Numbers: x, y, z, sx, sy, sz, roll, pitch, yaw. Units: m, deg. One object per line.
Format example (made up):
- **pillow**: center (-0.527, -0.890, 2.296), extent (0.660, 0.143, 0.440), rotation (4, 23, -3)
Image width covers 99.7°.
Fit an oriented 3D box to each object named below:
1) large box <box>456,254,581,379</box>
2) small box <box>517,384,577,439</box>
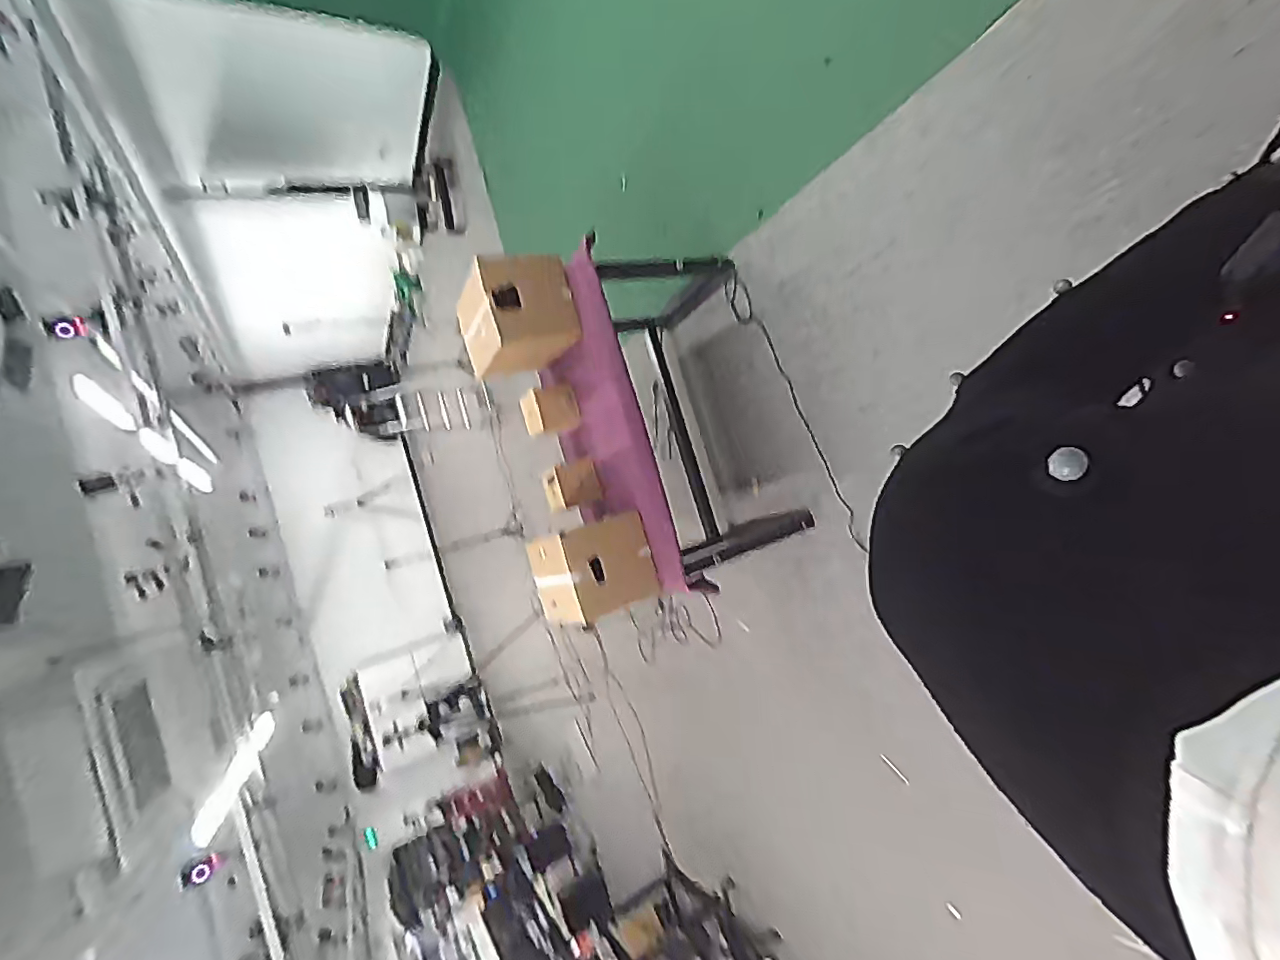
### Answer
- **large box**: center (-0.470, -0.612, 2.046), extent (0.408, 0.320, 0.320), rotation (-18, 89, 59)
- **small box**: center (-0.370, -0.274, 2.166), extent (0.179, 0.176, 0.168), rotation (-19, 87, 59)
